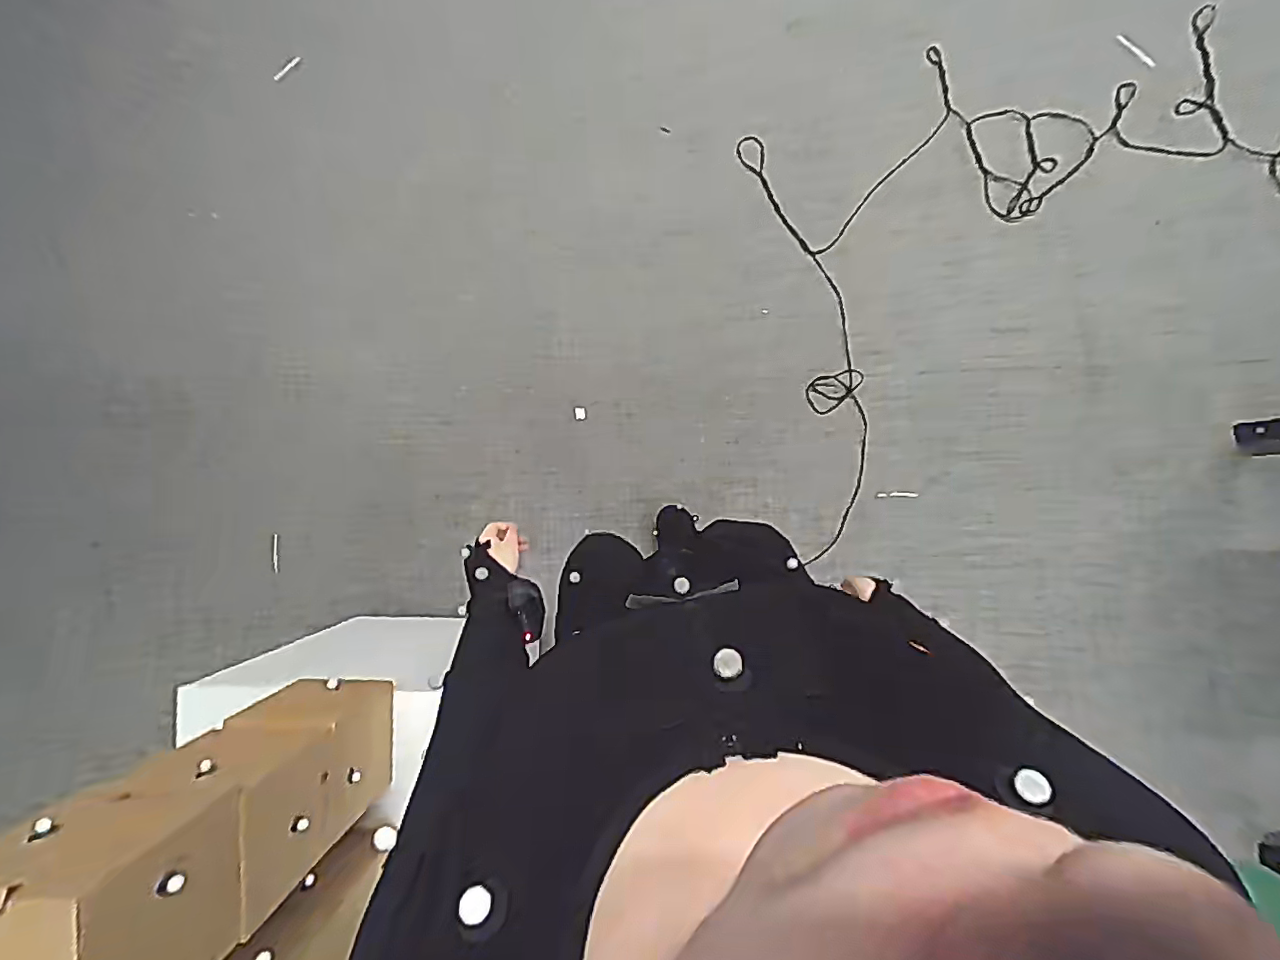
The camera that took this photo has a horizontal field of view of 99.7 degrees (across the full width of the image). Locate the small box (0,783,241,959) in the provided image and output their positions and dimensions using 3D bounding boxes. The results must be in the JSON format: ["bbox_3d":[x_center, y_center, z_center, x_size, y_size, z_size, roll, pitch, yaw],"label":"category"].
[{"bbox_3d":[-0.516,0.413,0.510,0.168,0.176,0.179,-1,90,1],"label":"small box"}]

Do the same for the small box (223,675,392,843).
[{"bbox_3d":[-0.503,0.420,0.838,0.168,0.176,0.179,0,89,1],"label":"small box"}]

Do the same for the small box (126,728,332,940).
[{"bbox_3d":[-0.510,0.424,0.672,0.179,0.176,0.168,-2,88,2],"label":"small box"}]

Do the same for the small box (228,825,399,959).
[{"bbox_3d":[-0.490,0.667,0.831,0.168,0.176,0.179,1,86,1],"label":"small box"}]
